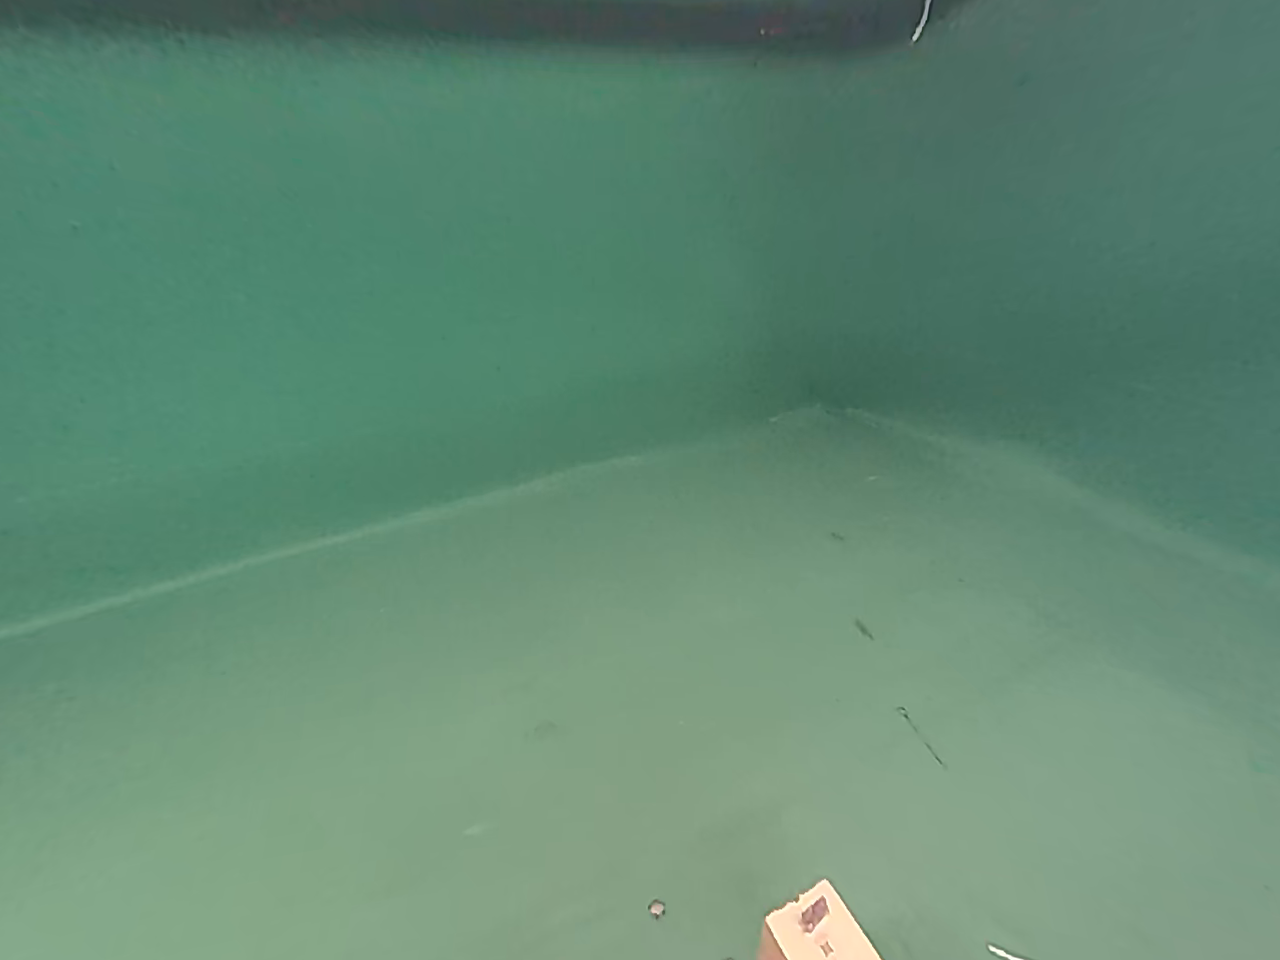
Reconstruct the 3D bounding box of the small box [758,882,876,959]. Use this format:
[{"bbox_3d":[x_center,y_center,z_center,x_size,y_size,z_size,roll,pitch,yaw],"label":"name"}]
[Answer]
[{"bbox_3d":[0.360,0.988,1.106,0.168,0.176,0.179,-15,34,-21],"label":"small box"}]
